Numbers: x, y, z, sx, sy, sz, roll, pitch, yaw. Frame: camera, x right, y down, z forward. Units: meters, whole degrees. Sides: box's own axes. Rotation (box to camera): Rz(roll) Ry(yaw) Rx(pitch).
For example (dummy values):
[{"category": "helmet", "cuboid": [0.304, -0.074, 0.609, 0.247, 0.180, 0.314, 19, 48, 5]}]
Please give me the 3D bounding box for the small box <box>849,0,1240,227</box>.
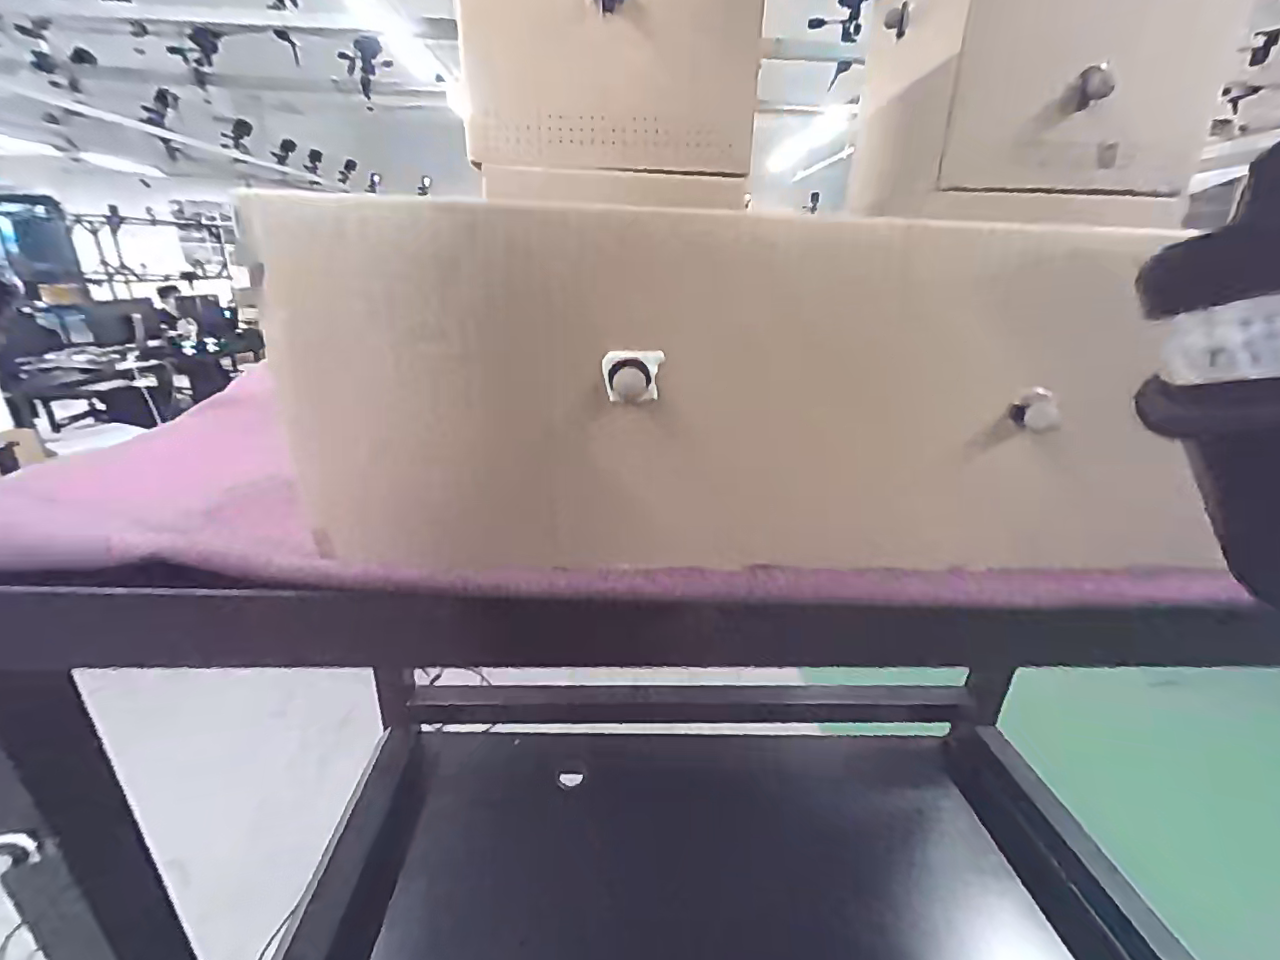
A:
[{"category": "small box", "cuboid": [0.273, -0.289, 0.407, 0.168, 0.176, 0.179, 0, 20, 1]}]
